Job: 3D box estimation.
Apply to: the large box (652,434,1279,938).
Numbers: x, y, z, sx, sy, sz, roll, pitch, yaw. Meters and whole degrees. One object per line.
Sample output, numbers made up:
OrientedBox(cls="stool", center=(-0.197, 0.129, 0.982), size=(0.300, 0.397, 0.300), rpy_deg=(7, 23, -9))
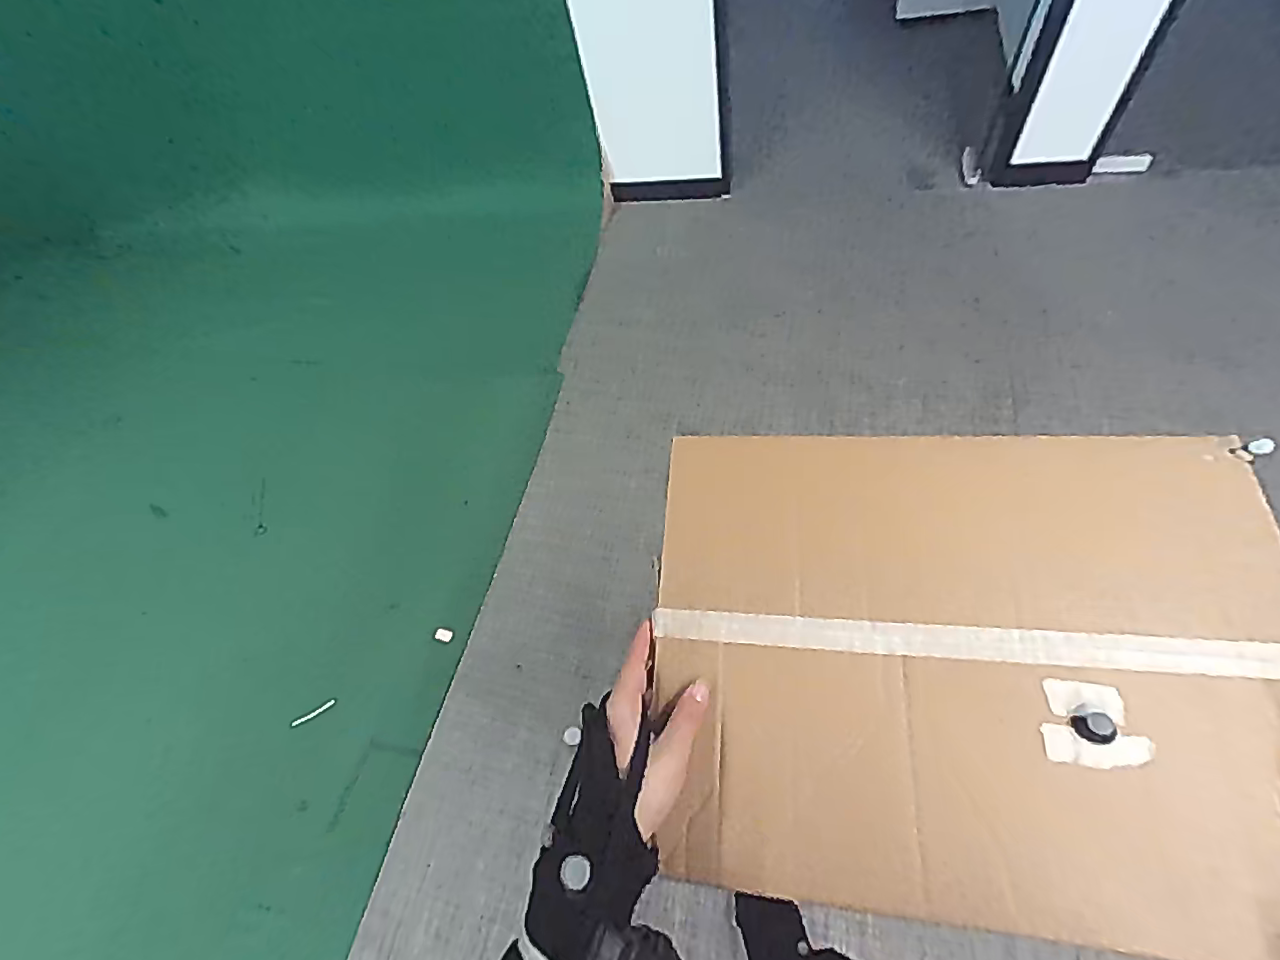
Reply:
OrientedBox(cls="large box", center=(0.233, 0.166, 0.506), size=(0.408, 0.320, 0.320), rpy_deg=(1, 67, 10))
